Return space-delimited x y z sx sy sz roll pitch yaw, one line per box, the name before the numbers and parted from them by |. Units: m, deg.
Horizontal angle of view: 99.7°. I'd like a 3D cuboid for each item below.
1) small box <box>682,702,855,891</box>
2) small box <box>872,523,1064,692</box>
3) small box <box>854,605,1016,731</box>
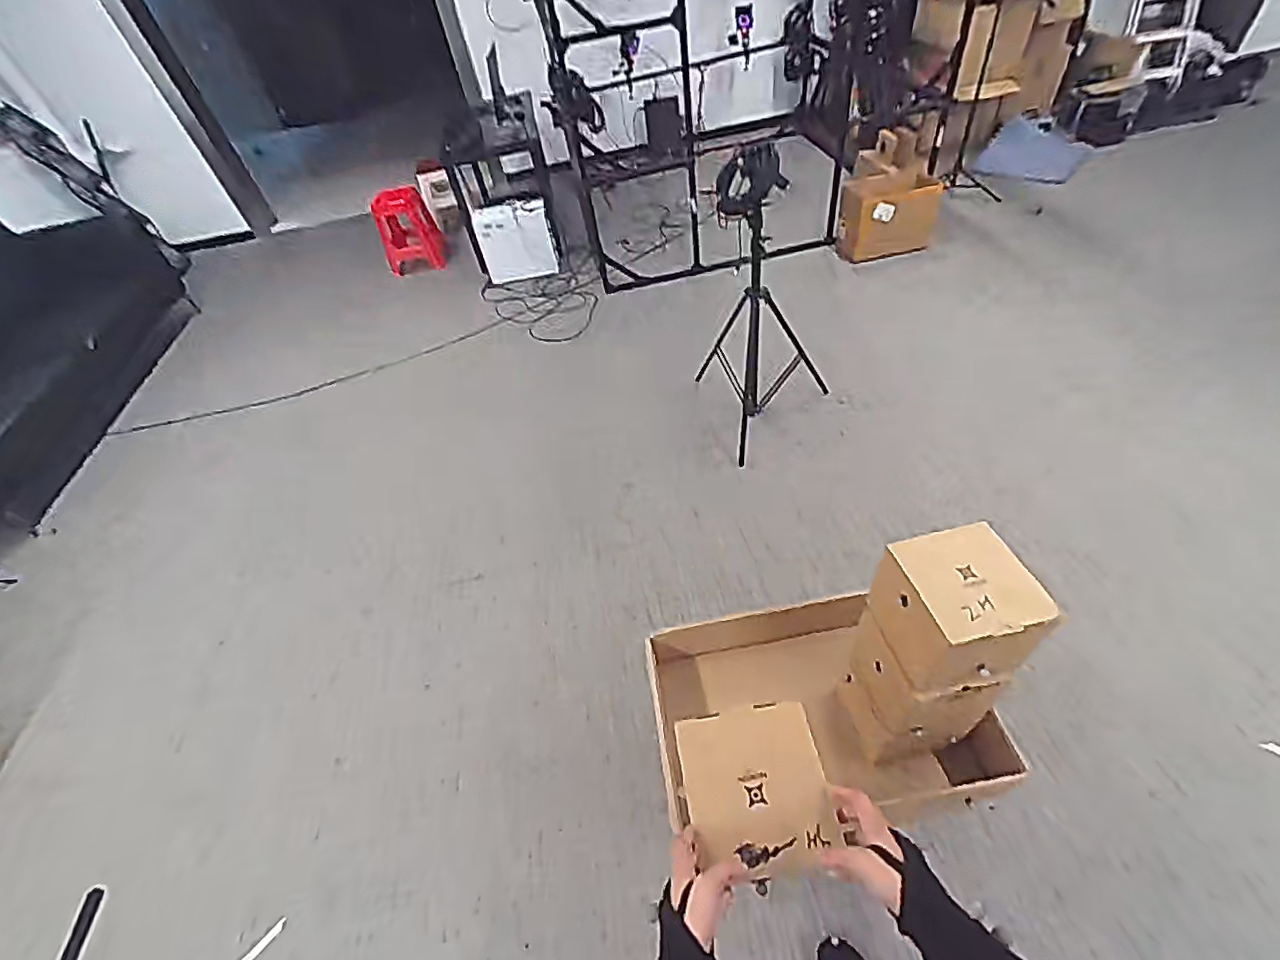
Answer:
small box | 0.152 0.409 0.695 0.168 0.176 0.179 -12 52 2
small box | 0.485 0.197 0.836 0.168 0.176 0.179 -13 48 -2
small box | 0.499 0.319 0.947 0.168 0.176 0.179 -13 46 -3
